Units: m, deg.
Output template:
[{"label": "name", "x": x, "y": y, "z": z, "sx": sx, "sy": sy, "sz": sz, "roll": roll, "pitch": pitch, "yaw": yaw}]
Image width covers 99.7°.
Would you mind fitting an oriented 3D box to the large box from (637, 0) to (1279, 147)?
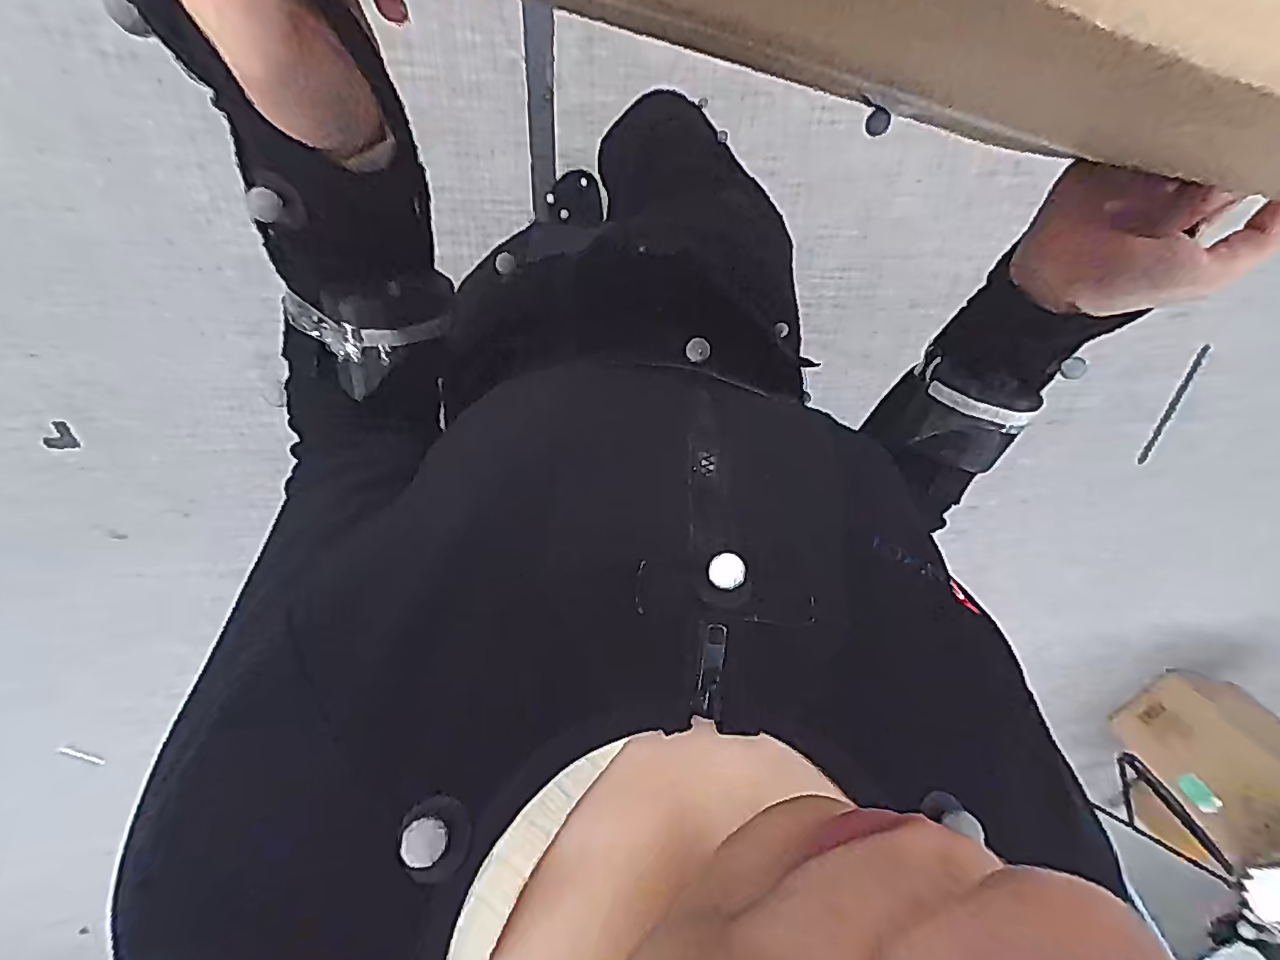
[{"label": "large box", "x": 0.104, "y": -0.308, "z": 0.126, "sx": 0.408, "sy": 0.320, "sz": 0.320, "roll": 5, "pitch": 127, "yaw": -14}]
